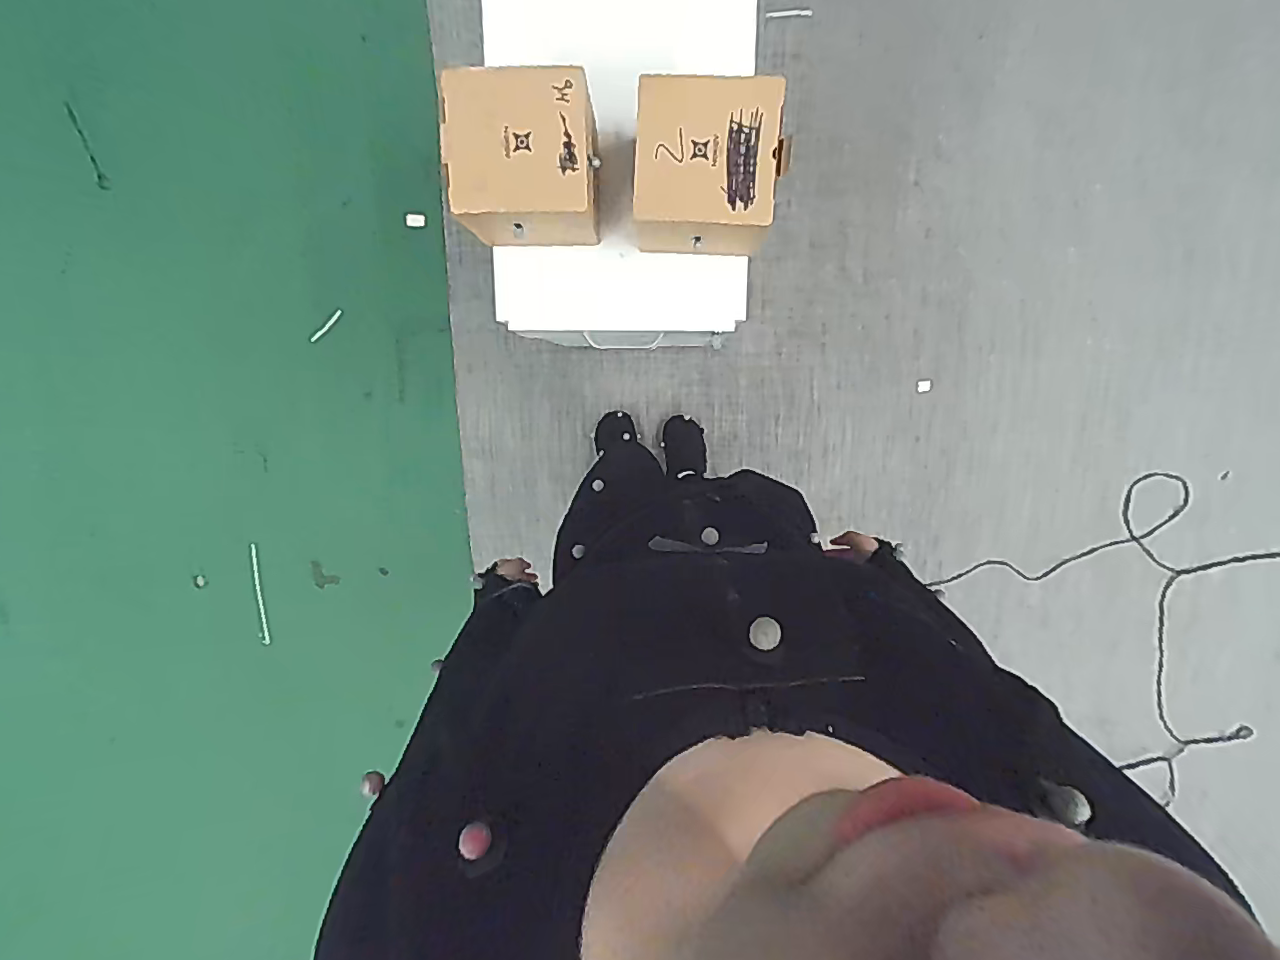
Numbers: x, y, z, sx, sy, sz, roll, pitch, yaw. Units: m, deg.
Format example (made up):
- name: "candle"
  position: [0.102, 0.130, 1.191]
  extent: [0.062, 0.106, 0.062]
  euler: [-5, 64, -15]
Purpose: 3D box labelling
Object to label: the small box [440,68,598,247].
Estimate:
- name: "small box"
  position: [-0.154, -0.426, 0.741]
  extent: [0.179, 0.176, 0.168]
  euler: [0, 100, 1]
